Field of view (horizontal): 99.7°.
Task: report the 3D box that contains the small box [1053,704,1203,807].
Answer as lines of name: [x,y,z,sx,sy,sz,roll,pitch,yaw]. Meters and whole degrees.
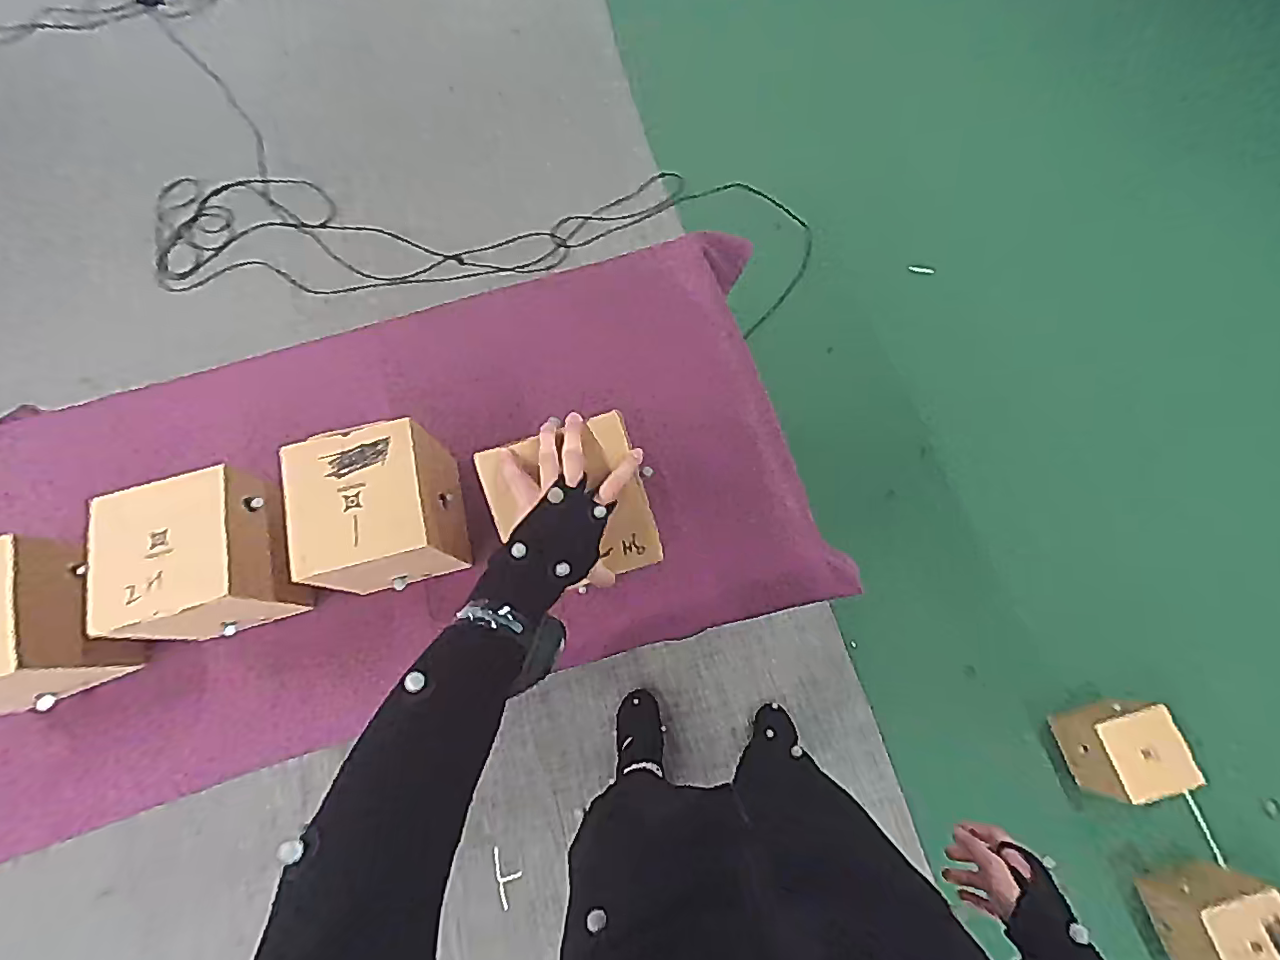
small box: [1.120,0.635,1.265,0.179,0.176,0.168,-15,72,-4]

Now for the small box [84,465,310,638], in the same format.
small box: [-0.577,0.104,0.726,0.168,0.176,0.179,-16,73,-3]

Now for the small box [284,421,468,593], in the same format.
small box: [-0.349,0.045,0.737,0.168,0.176,0.179,-14,74,-2]

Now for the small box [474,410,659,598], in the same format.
small box: [-0.081,0.021,0.669,0.168,0.176,0.179,-16,96,2]

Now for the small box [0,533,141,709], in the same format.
small box: [-0.810,0.192,0.706,0.168,0.176,0.179,-21,73,-4]
